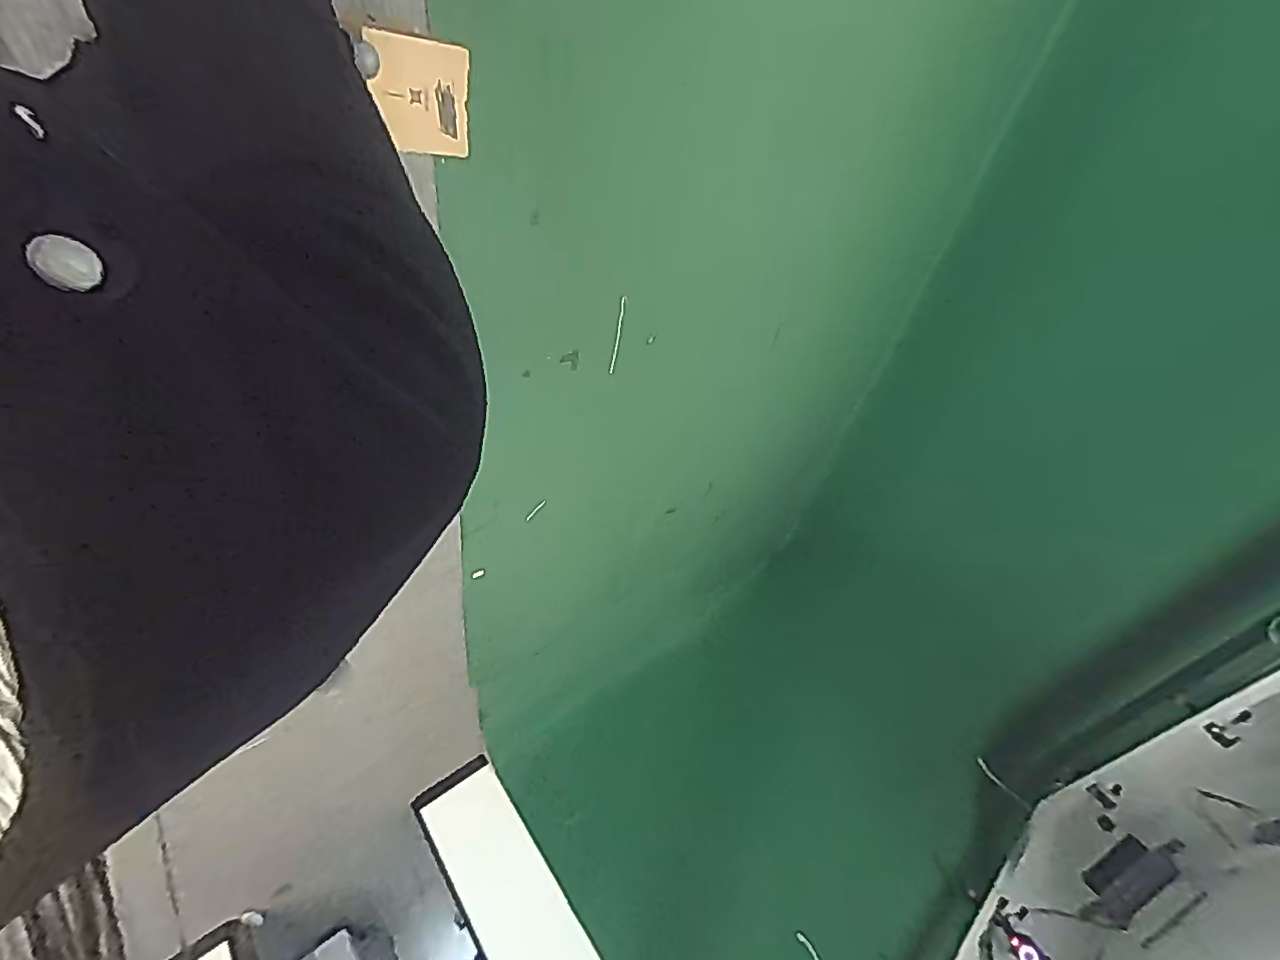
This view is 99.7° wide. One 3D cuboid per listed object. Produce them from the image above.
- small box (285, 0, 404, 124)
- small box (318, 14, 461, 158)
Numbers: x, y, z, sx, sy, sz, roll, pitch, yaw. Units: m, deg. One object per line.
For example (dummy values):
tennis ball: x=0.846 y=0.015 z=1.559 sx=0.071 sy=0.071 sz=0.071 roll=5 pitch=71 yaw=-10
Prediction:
small box: x=-0.543 y=-0.783 z=1.029 sx=0.179 sy=0.176 sz=0.168 roll=-19 pitch=139 yaw=-37
small box: x=-0.435 y=-0.687 z=0.949 sx=0.179 sy=0.176 sz=0.168 roll=-19 pitch=139 yaw=-38
